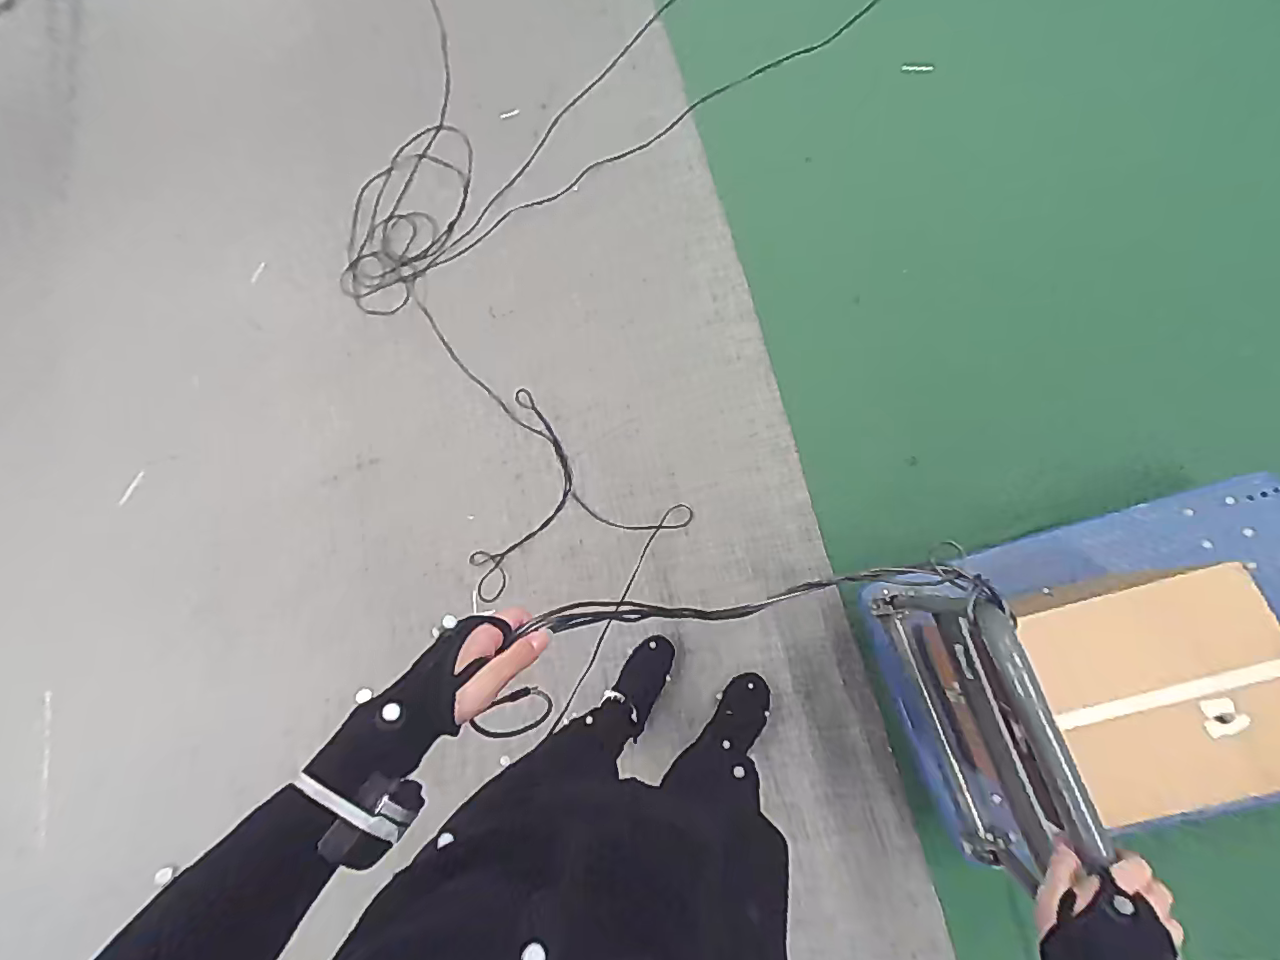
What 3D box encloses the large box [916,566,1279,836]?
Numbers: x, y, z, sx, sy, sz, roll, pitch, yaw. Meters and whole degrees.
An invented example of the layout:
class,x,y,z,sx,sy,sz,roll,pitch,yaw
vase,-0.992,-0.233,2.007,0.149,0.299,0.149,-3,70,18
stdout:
class,x,y,z,sx,sy,sz,roll,pitch,yaw
large box,0.797,0.371,0.973,0.408,0.320,0.320,-17,75,5
